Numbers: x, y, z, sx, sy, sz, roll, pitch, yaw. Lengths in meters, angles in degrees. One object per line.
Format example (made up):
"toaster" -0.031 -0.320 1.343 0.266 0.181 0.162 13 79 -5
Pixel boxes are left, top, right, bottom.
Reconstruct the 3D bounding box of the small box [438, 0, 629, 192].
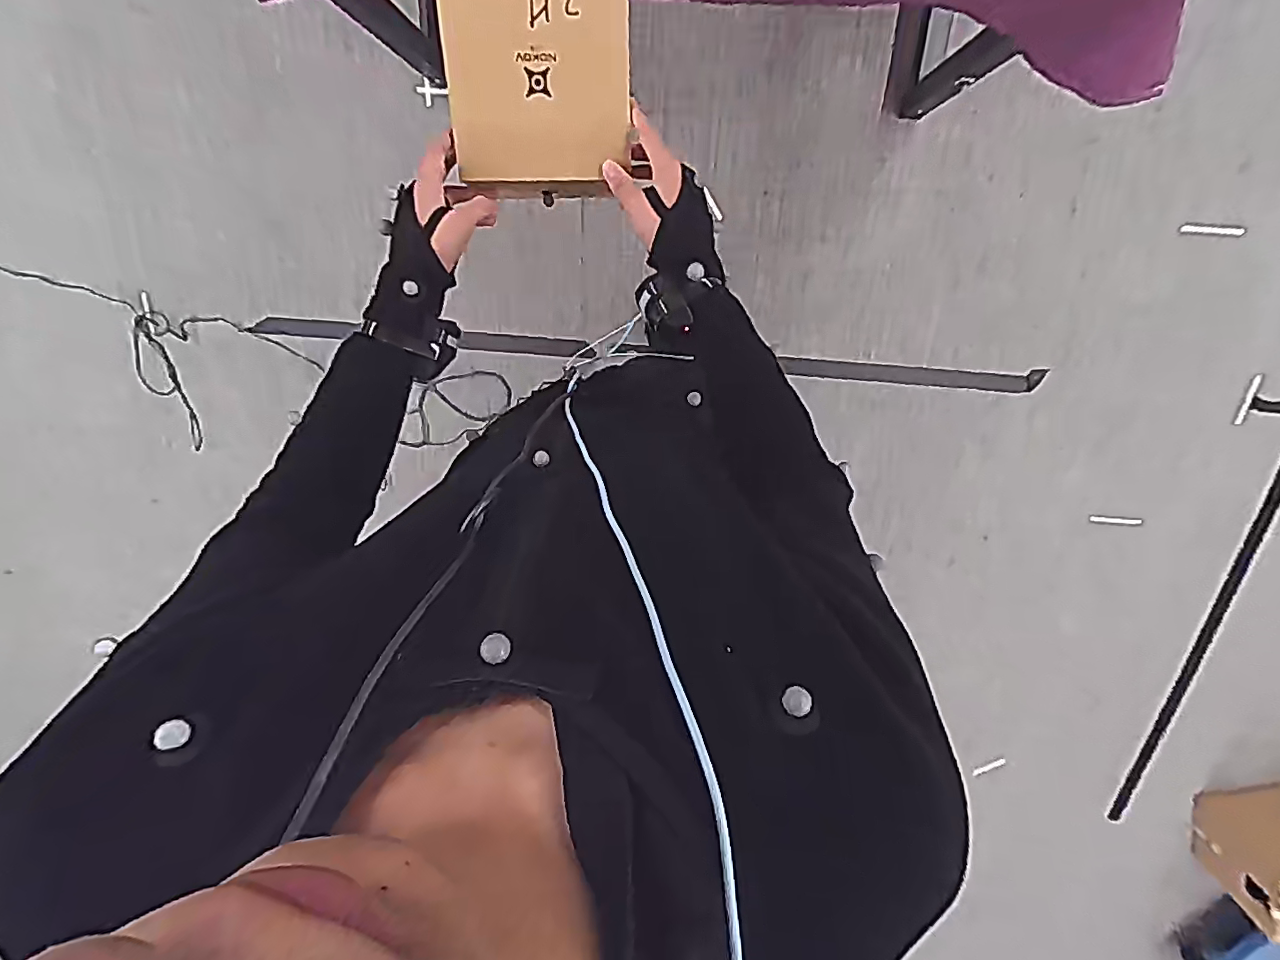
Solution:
"small box" -0.096 -0.400 0.555 0.168 0.176 0.179 -2 113 -4
